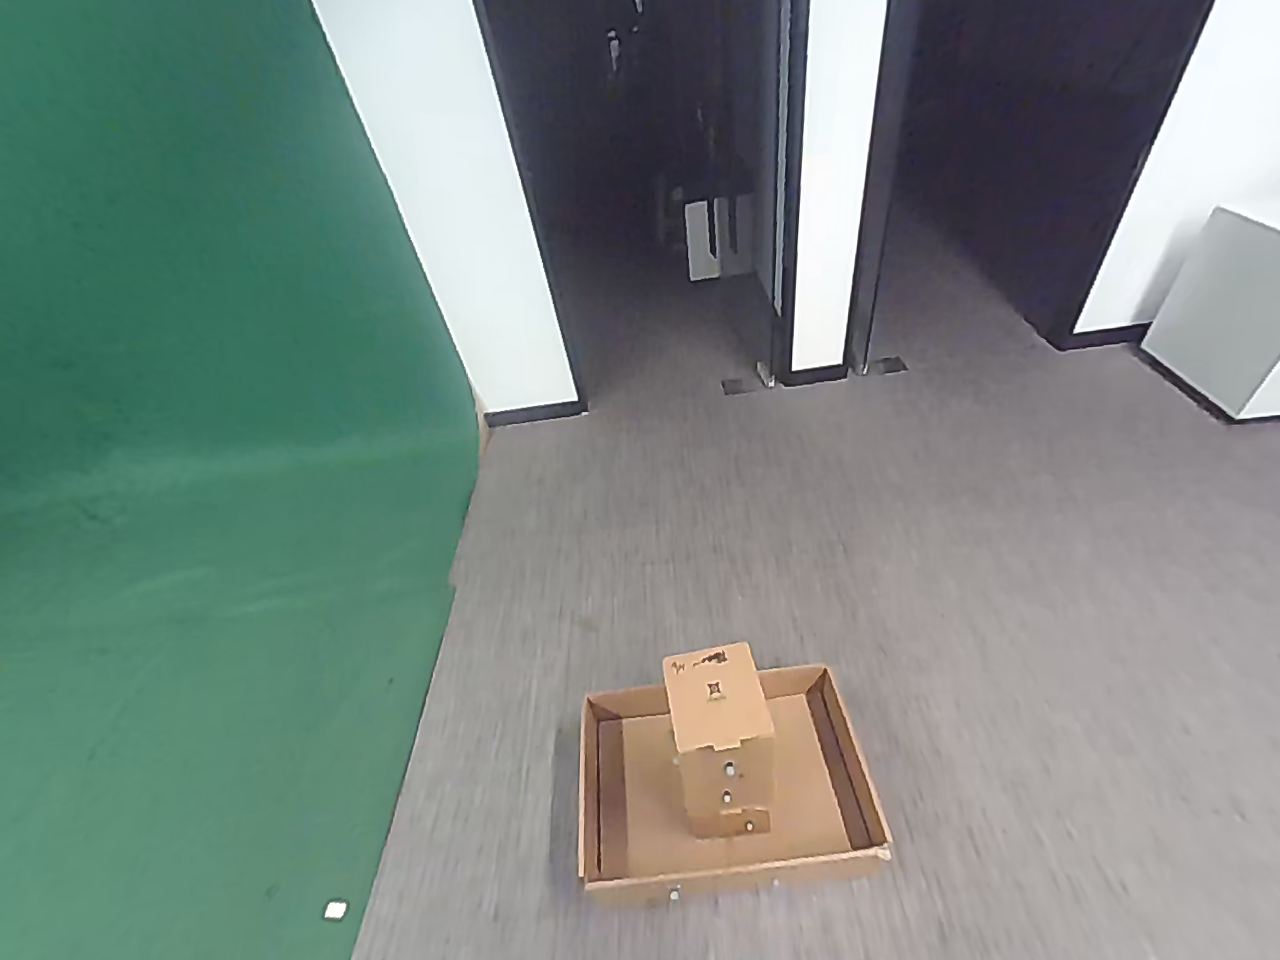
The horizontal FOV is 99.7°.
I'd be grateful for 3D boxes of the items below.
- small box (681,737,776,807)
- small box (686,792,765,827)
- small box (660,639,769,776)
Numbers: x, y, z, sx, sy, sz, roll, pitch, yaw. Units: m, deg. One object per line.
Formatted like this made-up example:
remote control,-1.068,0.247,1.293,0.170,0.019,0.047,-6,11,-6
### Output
small box,0.166,0.547,1.111,0.179,0.176,0.168,-10,43,-1
small box,0.187,0.665,1.223,0.168,0.176,0.179,-7,41,4
small box,0.139,0.427,1.003,0.168,0.176,0.179,-11,43,1
